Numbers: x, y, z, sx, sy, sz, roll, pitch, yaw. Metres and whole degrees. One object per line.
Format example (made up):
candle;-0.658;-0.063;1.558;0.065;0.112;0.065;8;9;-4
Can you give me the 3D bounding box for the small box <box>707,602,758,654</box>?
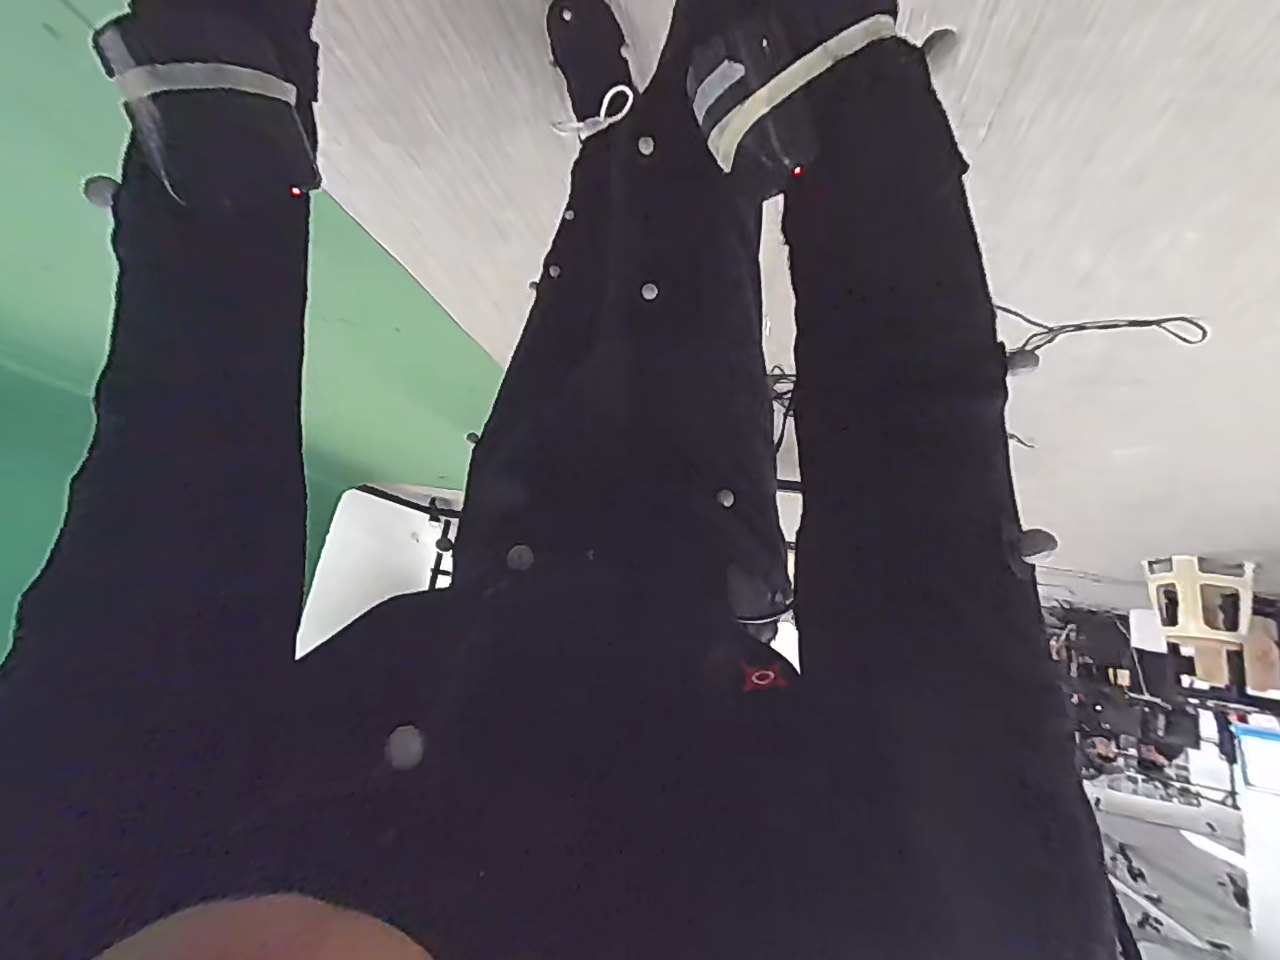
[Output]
small box;0.365;0.575;2.109;0.179;0.176;0.168;7;167;16
